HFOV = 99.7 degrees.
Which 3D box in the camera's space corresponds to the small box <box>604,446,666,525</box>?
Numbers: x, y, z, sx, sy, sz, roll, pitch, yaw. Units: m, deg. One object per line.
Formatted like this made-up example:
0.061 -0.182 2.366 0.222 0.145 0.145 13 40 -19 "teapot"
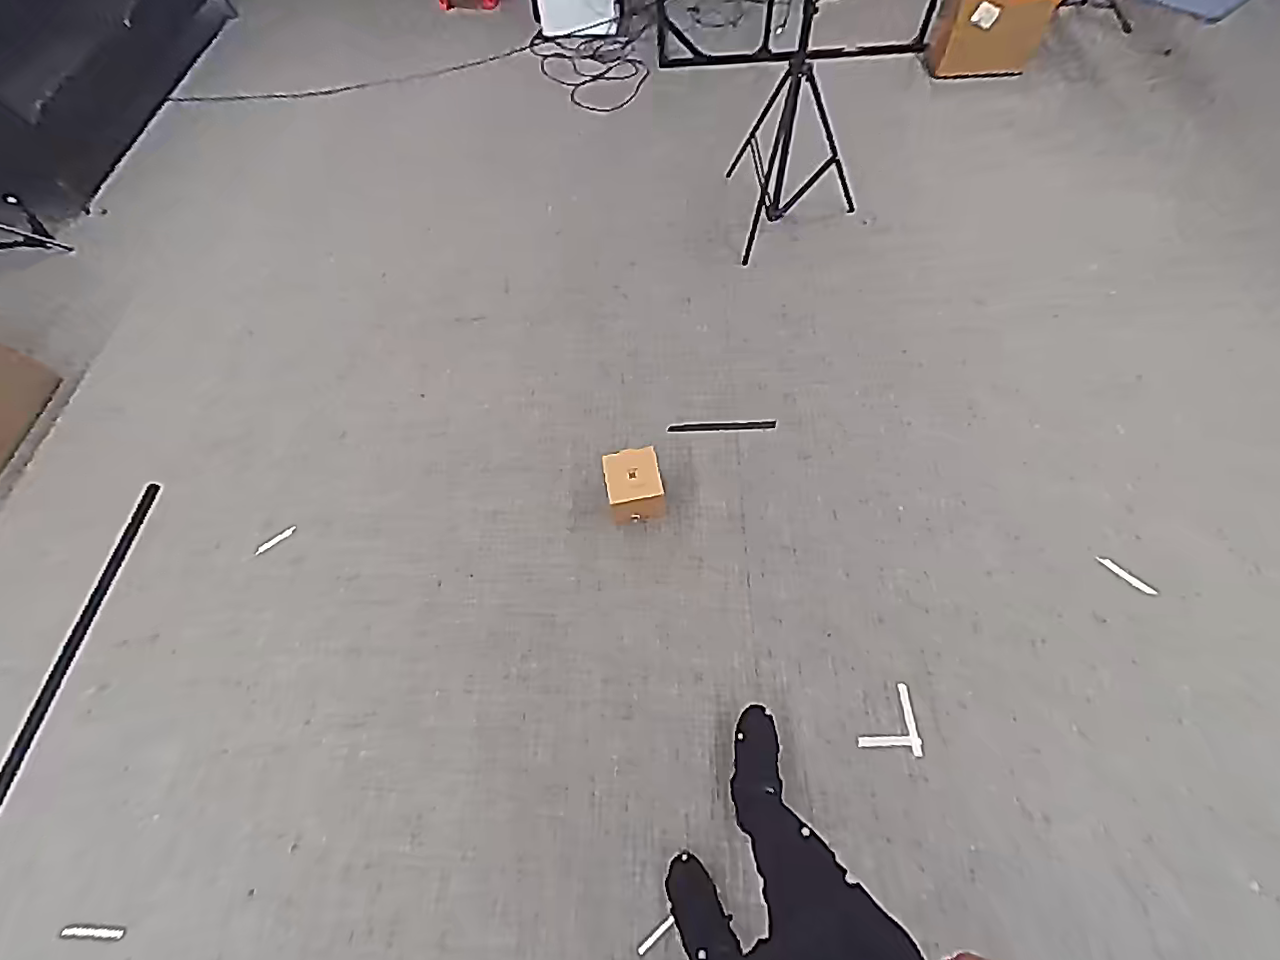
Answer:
-0.015 0.020 1.691 0.168 0.176 0.179 -11 61 -1 "small box"
